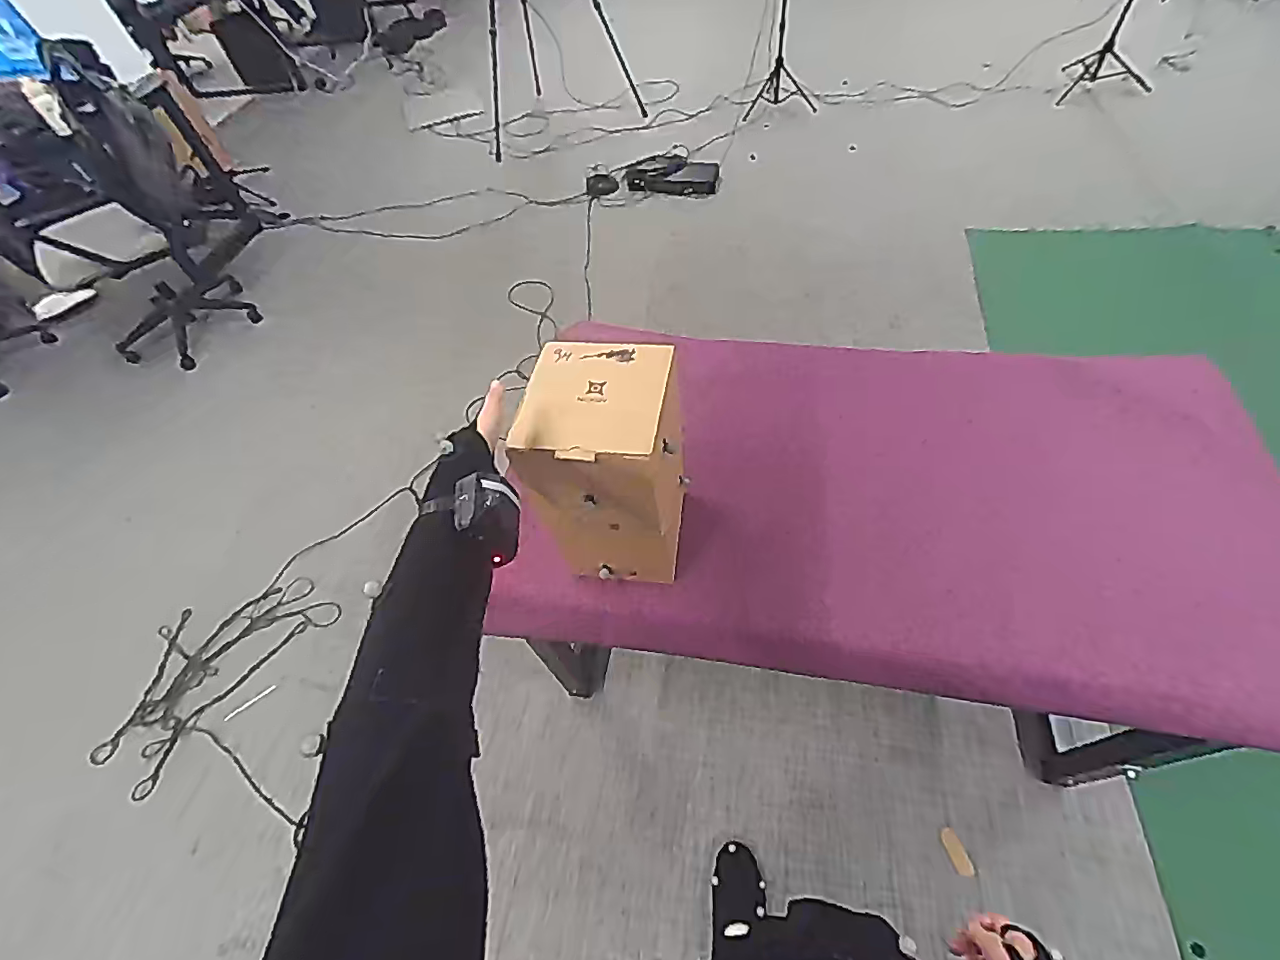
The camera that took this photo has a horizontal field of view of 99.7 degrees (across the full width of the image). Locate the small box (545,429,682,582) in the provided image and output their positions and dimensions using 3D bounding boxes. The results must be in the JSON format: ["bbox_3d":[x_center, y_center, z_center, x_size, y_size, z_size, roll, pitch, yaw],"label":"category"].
[{"bbox_3d":[-0.027,0.033,0.817,0.168,0.176,0.179,4,55,10],"label":"small box"}]

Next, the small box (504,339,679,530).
[{"bbox_3d":[-0.045,-0.054,0.679,0.168,0.176,0.179,5,56,11],"label":"small box"}]
